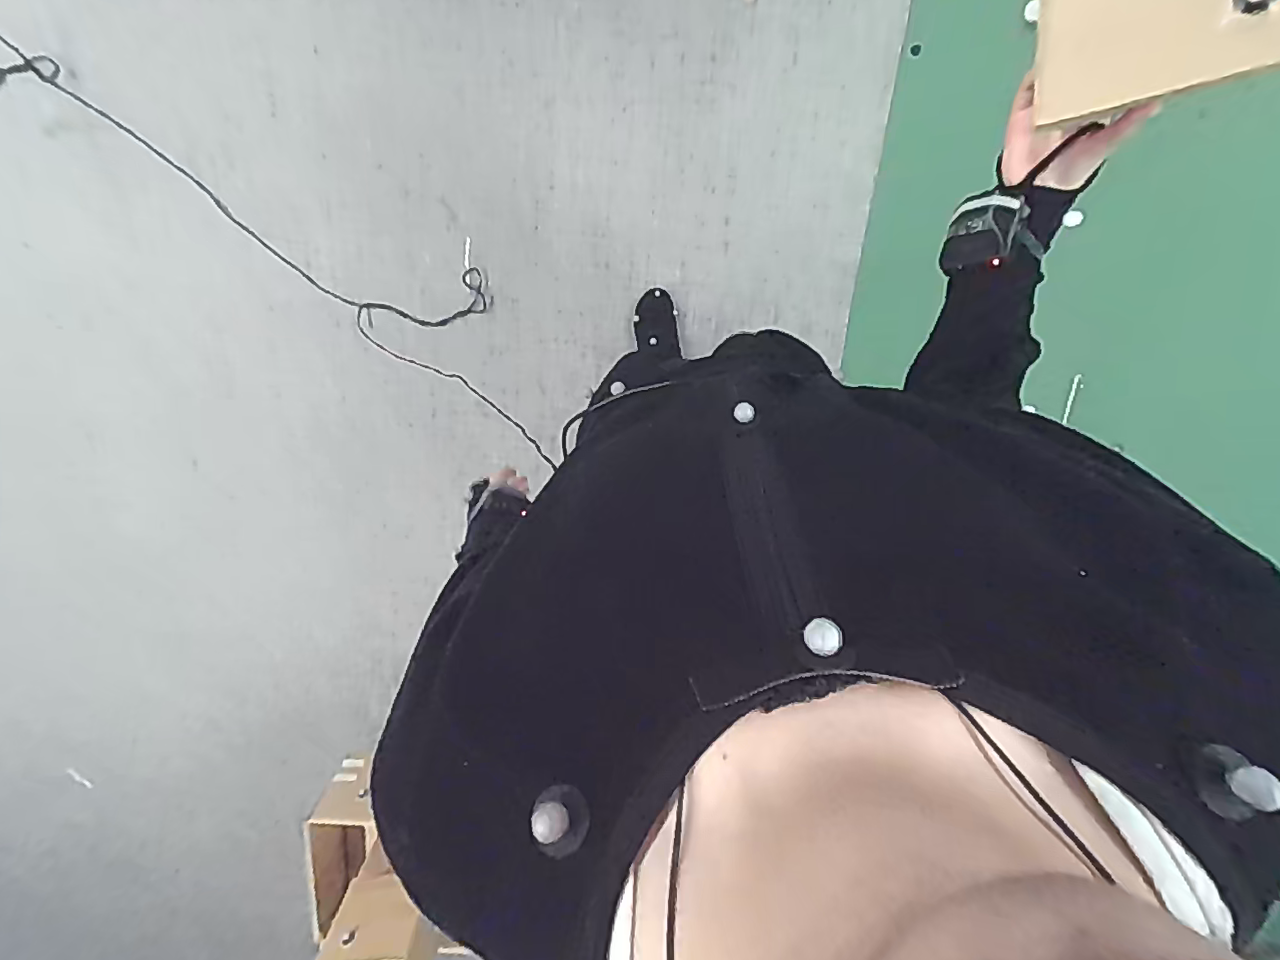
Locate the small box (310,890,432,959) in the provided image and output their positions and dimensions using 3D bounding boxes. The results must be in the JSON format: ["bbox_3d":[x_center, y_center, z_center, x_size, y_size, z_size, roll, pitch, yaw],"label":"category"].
[{"bbox_3d":[-0.538,0.964,1.081,0.179,0.176,0.168,-3,107,-3],"label":"small box"}]

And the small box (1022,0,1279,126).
[{"bbox_3d":[0.343,-0.331,0.313,0.179,0.168,0.176,6,119,42],"label":"small box"}]
